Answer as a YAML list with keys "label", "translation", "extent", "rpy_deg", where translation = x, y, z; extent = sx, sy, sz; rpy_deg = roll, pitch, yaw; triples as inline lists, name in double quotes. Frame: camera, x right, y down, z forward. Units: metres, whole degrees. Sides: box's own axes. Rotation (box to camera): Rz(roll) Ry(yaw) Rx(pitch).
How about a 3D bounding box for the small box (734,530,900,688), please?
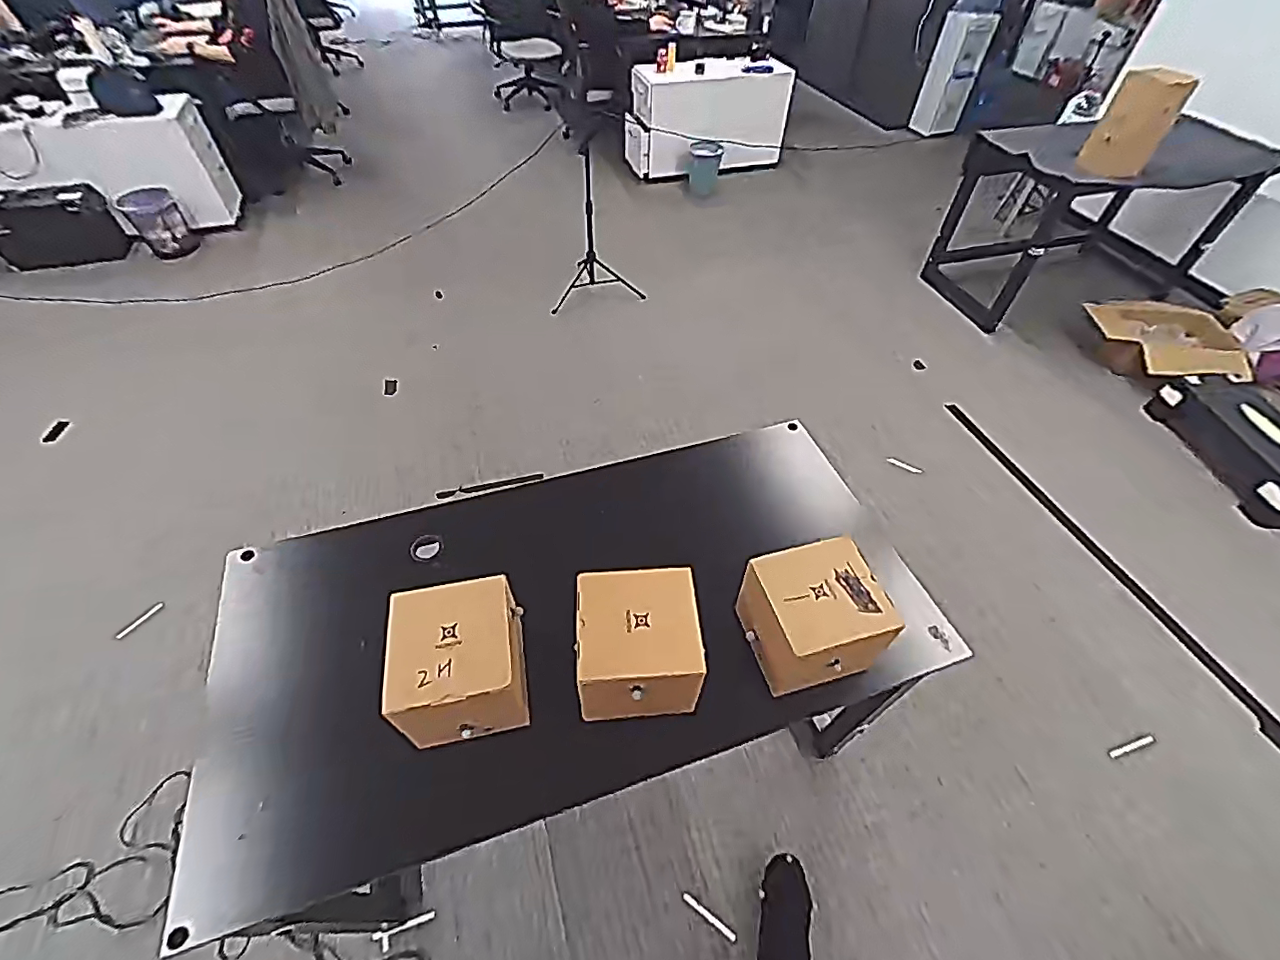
- label: "small box"
  translation: [0.267, 0.207, 0.864]
  extent: [0.179, 0.176, 0.168]
  rpy_deg: [-13, 52, -10]

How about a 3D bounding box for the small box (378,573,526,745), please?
- label: "small box"
  translation: [-0.270, 0.267, 0.805]
  extent: [0.168, 0.176, 0.179]
  rpy_deg: [-10, 52, -8]
